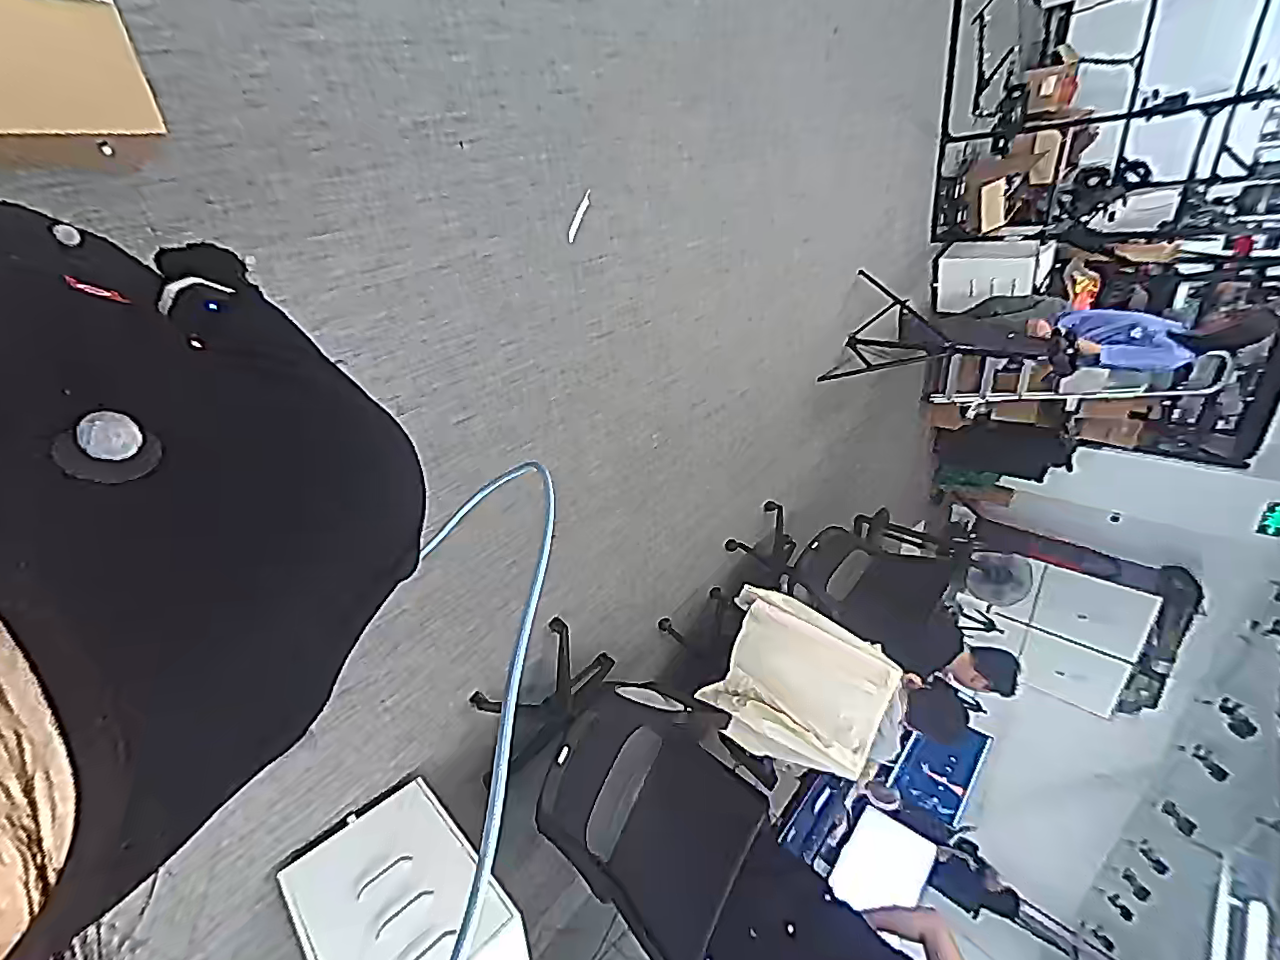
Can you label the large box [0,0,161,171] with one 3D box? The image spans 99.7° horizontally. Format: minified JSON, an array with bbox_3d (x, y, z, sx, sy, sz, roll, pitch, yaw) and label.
[{"bbox_3d":[-0.939,-0.576,0.680,0.408,0.320,0.320,-30,124,-38],"label":"large box"}]
